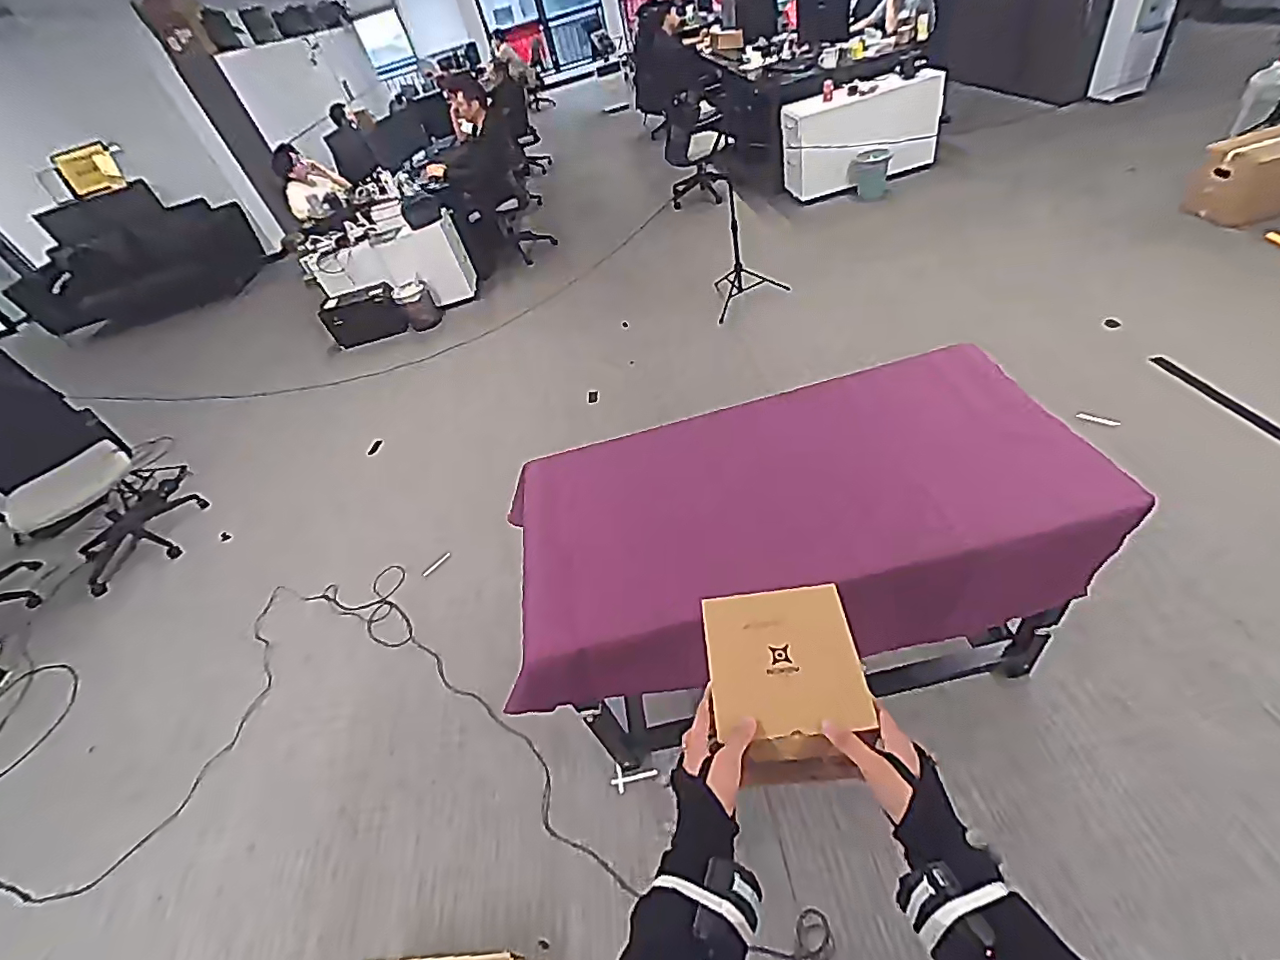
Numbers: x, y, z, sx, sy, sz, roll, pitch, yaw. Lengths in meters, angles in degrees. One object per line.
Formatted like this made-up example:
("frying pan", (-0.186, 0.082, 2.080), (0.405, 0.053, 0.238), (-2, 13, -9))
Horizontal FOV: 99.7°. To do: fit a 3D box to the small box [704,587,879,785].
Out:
("small box", (0.177, 0.257, 0.661), (0.168, 0.176, 0.179), (-9, 45, 8))
